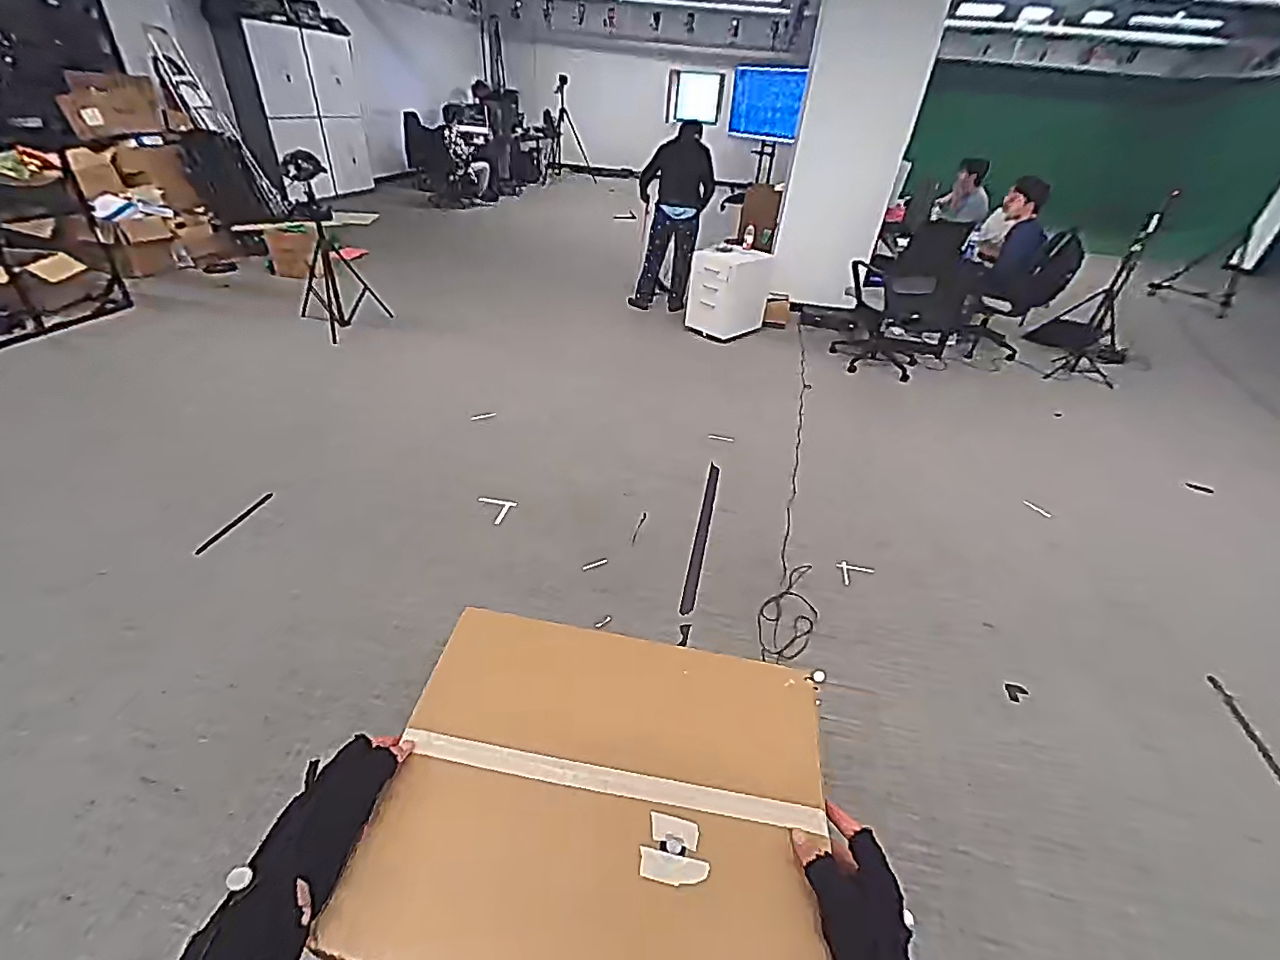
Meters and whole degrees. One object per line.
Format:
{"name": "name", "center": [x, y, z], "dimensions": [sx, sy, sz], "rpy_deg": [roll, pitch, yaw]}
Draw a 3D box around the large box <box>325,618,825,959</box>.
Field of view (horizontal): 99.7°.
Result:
{"name": "large box", "center": [-0.045, 0.402, 0.618], "dimensions": [0.408, 0.320, 0.320], "rpy_deg": [10, 42, 4]}
